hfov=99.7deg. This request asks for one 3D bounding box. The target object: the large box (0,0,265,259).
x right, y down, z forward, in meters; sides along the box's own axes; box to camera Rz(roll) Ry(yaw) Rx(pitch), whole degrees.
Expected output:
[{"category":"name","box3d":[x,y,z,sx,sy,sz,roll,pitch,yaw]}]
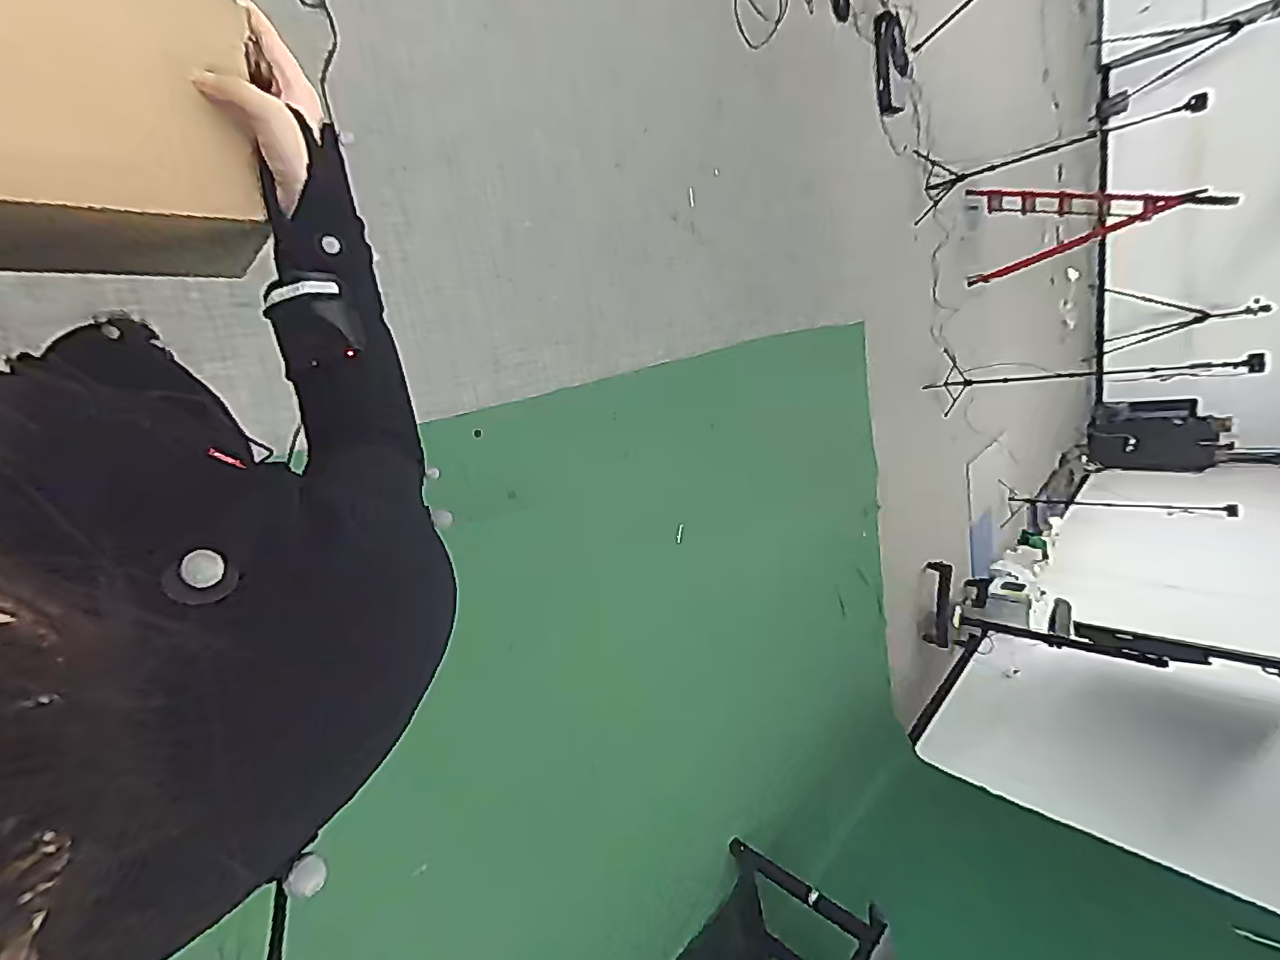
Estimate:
[{"category":"large box","box3d":[-0.552,-0.345,0.387,0.408,0.320,0.320,-14,107,-37]}]
